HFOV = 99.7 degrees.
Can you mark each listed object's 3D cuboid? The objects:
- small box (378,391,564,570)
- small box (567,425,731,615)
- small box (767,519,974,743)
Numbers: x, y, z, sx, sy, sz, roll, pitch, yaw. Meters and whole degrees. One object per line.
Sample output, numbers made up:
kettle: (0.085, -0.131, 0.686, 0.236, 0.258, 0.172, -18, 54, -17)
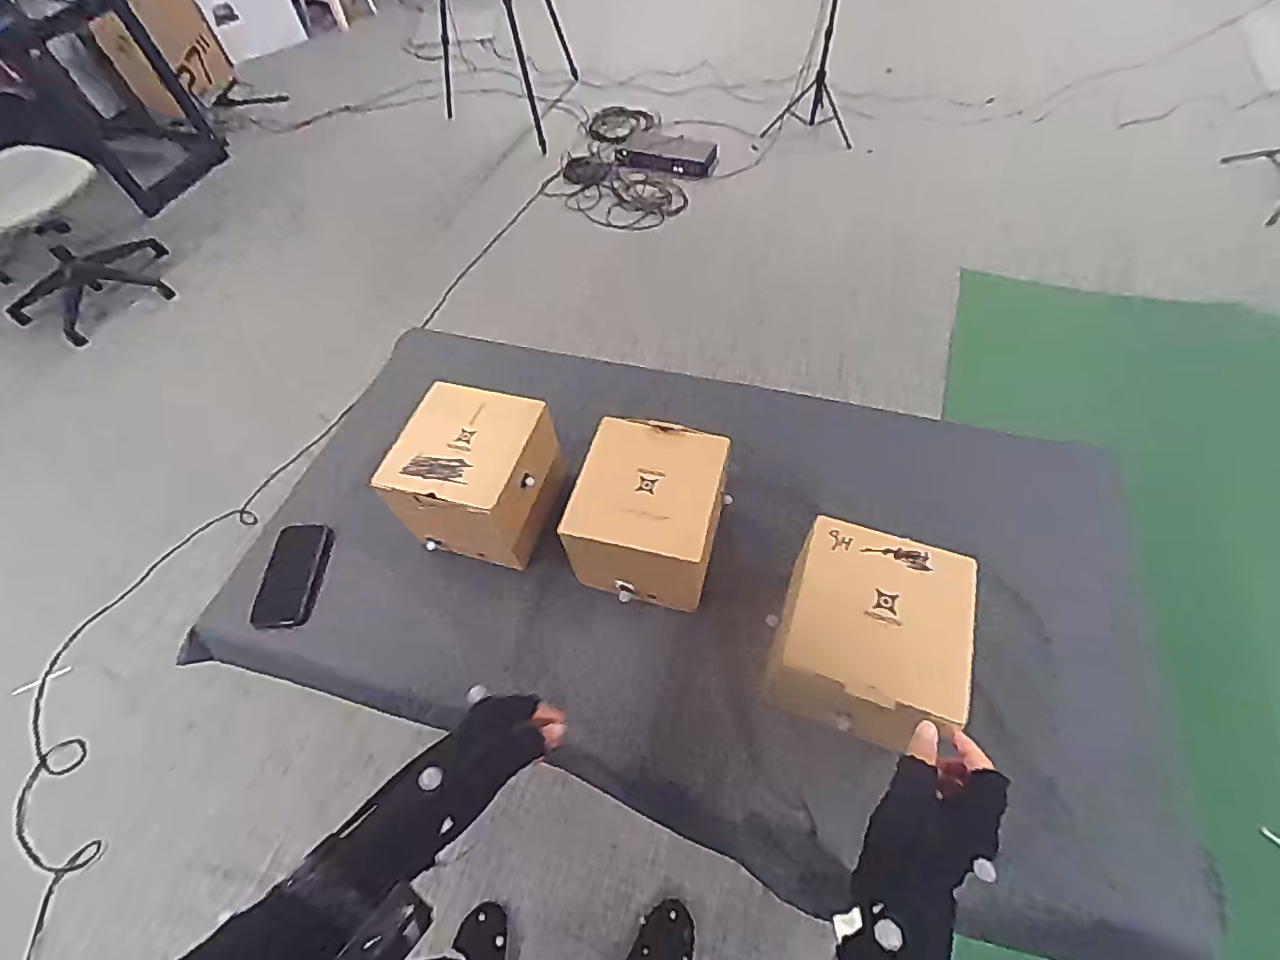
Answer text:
small box: (-0.218, 0.005, 0.757, 0.168, 0.176, 0.179, 12, 57, 11)
small box: (0.020, 0.056, 0.713, 0.168, 0.176, 0.179, 10, 60, 11)
small box: (0.249, 0.177, 0.614, 0.168, 0.176, 0.179, 17, 60, 13)
